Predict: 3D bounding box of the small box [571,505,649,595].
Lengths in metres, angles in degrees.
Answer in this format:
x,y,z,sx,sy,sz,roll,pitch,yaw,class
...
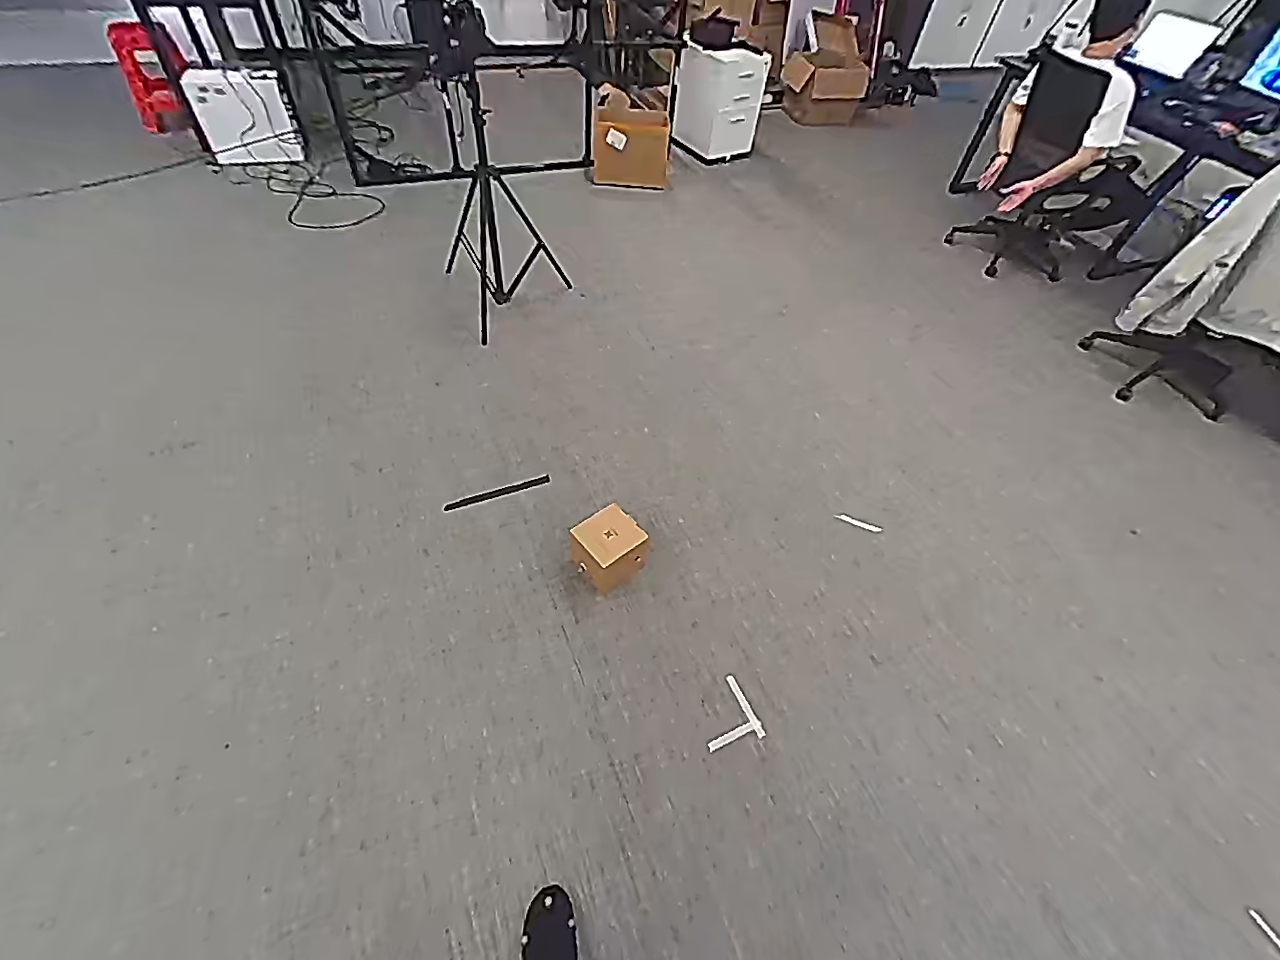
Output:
x,y,z,sx,sy,sz,roll,pitch,yaw,class
-0.096,0.215,1.652,0.179,0.176,0.168,-33,60,-28,small box
